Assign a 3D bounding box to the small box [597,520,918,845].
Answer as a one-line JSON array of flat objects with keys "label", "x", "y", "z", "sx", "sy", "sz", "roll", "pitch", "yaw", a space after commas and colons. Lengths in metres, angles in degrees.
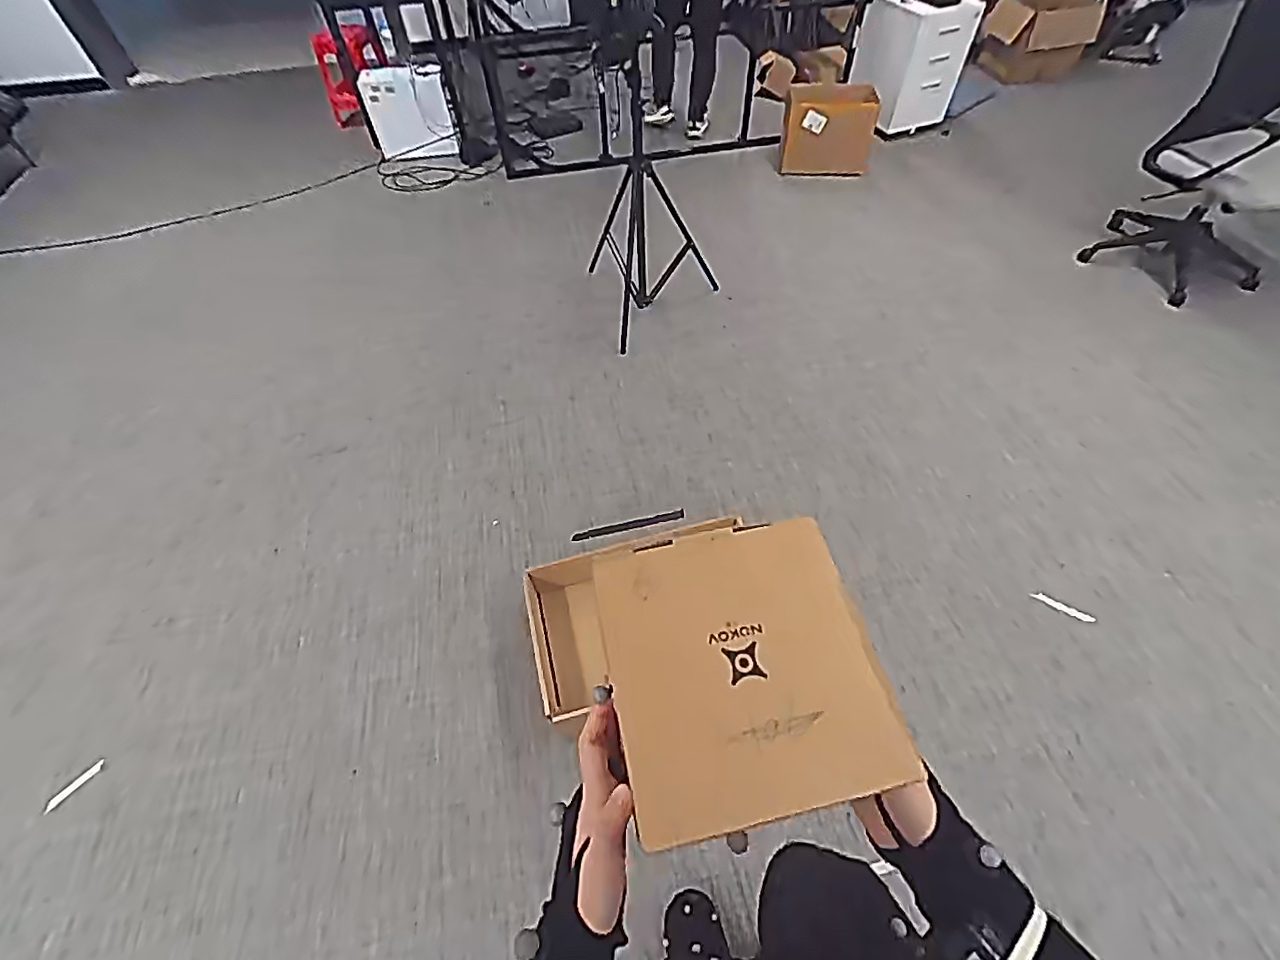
[{"label": "small box", "x": 0.061, "y": 0.156, "z": 0.409, "sx": 0.168, "sy": 0.176, "sz": 0.179, "roll": -10, "pitch": 59, "yaw": -7}]
